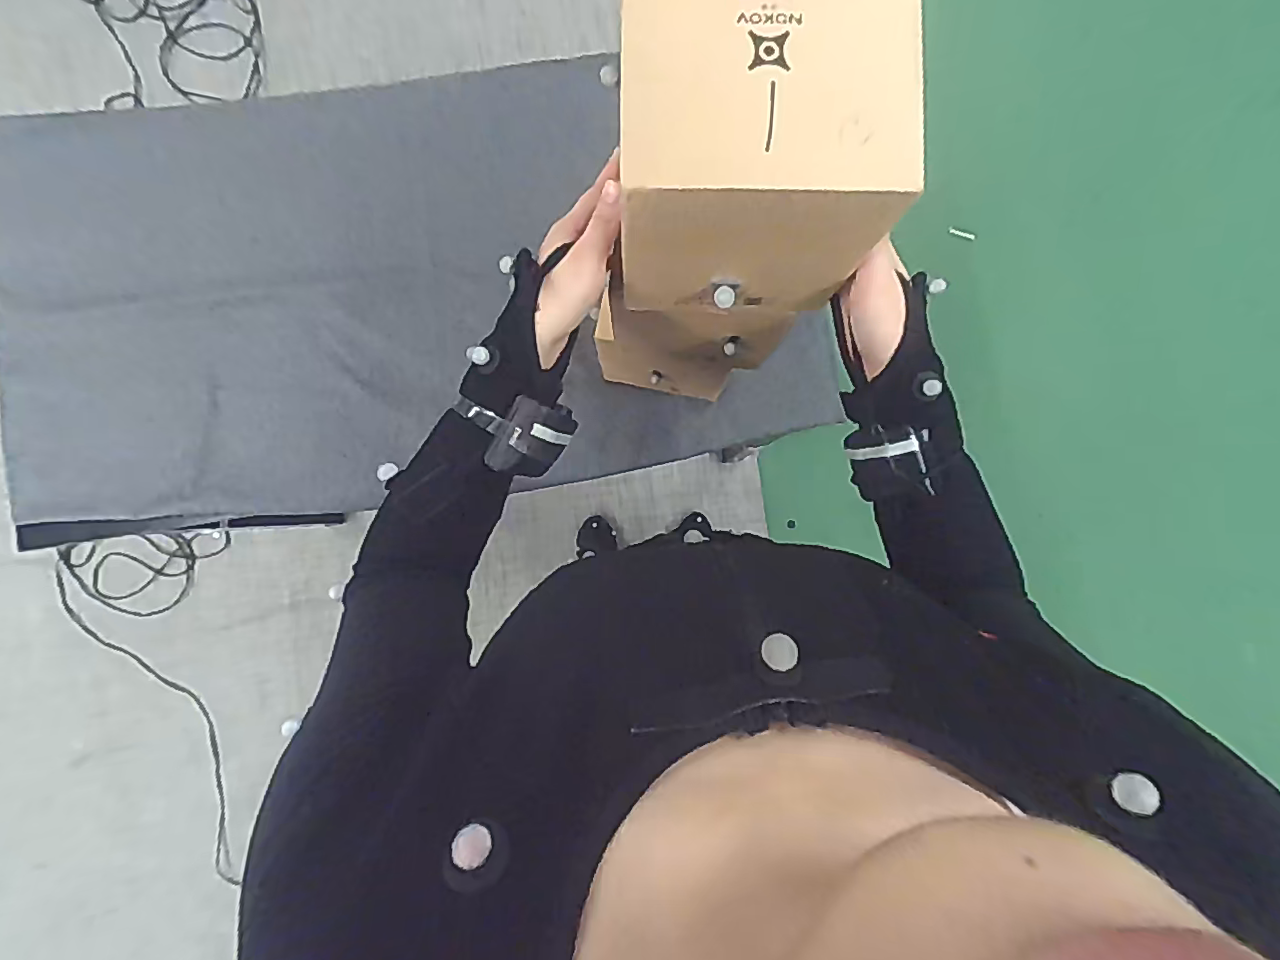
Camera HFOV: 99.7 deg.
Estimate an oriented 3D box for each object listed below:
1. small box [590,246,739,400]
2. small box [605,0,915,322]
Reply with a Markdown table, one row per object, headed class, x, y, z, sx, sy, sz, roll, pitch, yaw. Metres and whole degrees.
| class | x | y | z | sx | sy | sz | roll | pitch | yaw |
| --- | --- | --- | --- | --- | --- | --- | --- | --- | --- |
| small box | 0.040 | -0.214 | 0.696 | 0.168 | 0.176 | 0.179 | 11 | 84 | 1 |
| small box | 0.063 | -0.224 | 0.369 | 0.168 | 0.176 | 0.179 | 0 | 86 | 0 |
